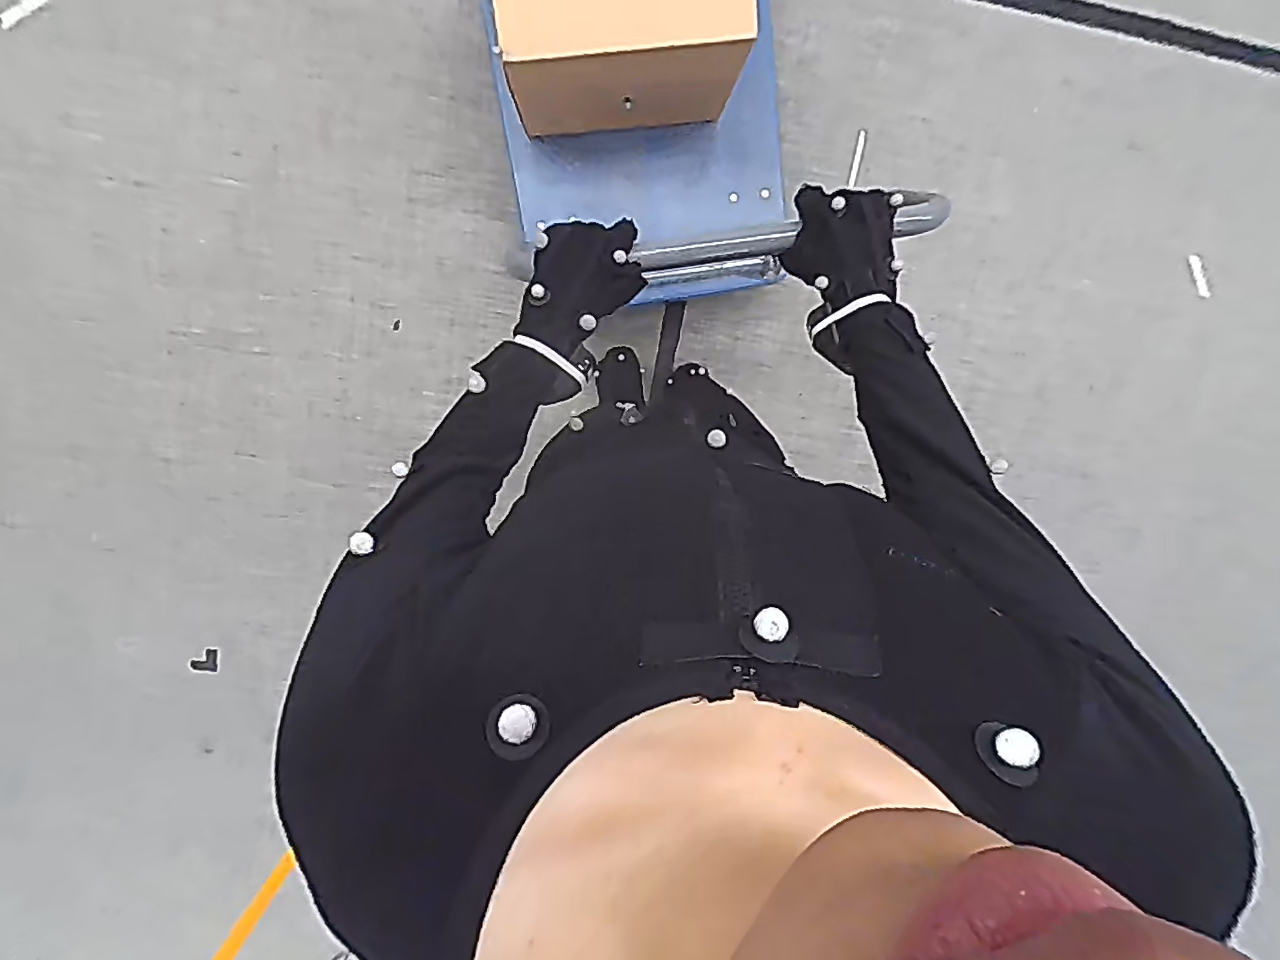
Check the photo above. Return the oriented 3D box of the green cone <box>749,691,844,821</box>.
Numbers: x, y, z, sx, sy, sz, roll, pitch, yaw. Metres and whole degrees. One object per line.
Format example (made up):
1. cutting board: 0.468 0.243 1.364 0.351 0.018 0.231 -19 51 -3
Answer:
1. green cone: 0.465 0.792 1.509 0.202 0.368 0.200 12 101 -8

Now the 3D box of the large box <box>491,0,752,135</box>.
1. large box: -0.044 -0.851 0.954 0.408 0.320 0.320 -7 103 -1
